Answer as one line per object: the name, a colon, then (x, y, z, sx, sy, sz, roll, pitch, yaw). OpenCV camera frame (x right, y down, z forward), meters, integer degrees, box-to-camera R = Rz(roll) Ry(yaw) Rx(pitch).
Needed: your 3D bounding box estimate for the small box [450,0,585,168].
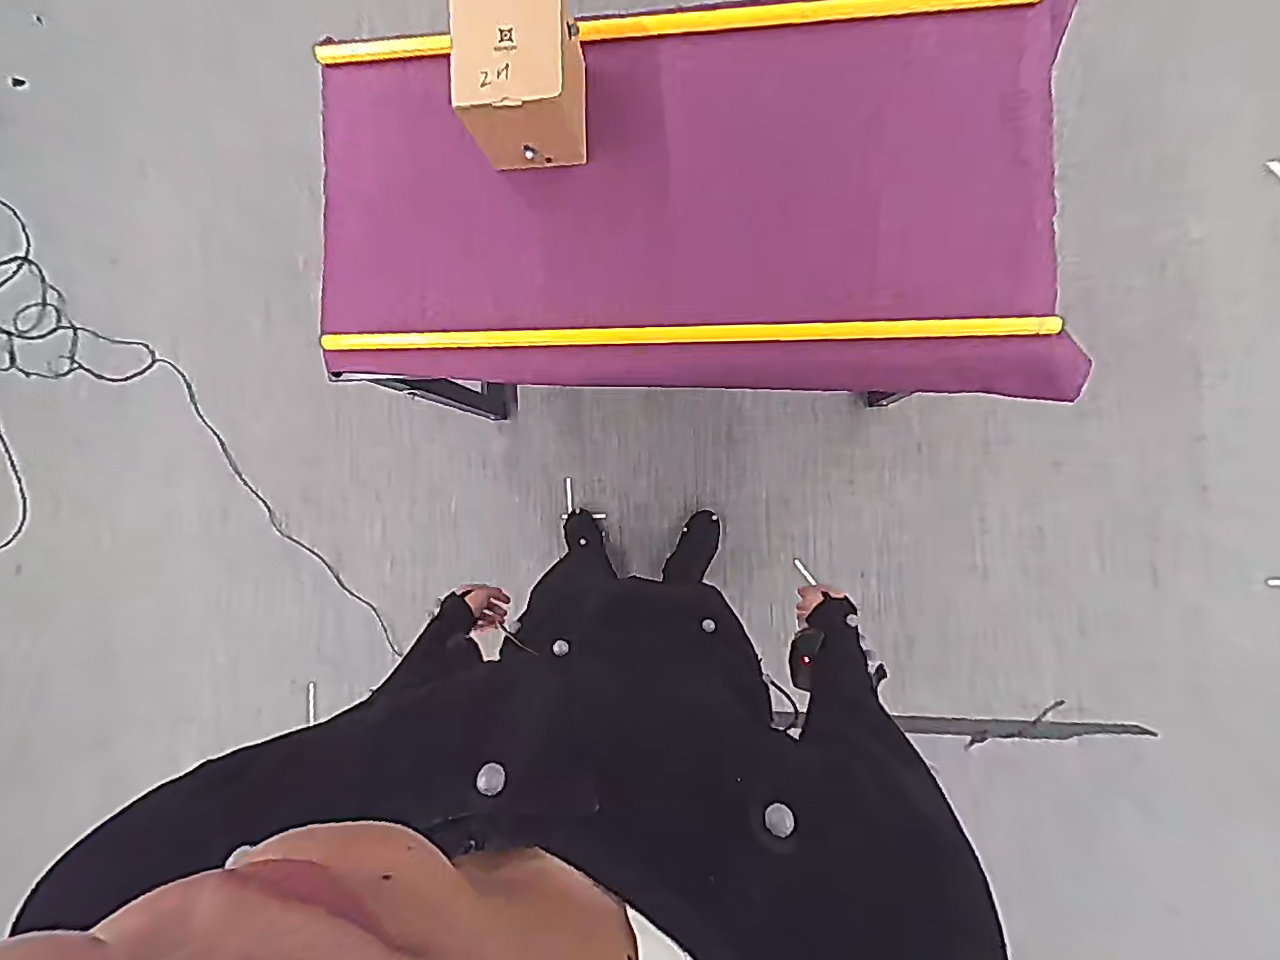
small box: (-0.184, -0.629, 0.852, 0.168, 0.176, 0.179, 0, 91, 6)
